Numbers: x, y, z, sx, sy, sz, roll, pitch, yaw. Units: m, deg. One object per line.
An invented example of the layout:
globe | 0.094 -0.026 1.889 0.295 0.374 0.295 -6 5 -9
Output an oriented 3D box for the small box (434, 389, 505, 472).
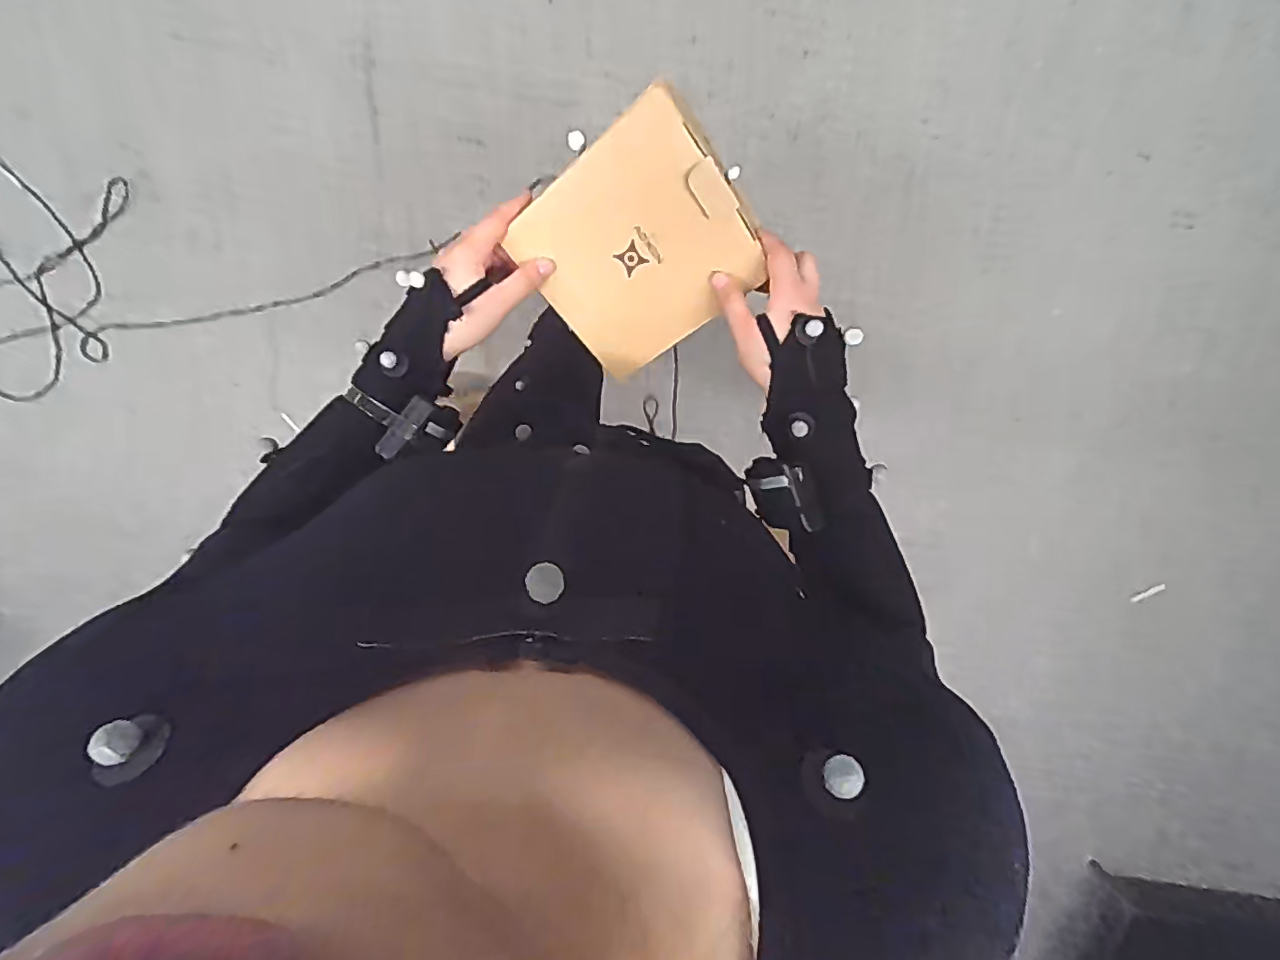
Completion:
small box | -0.444 -0.131 1.366 0.168 0.176 0.179 6 106 0

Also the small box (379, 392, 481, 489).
small box | -0.462 -0.093 1.206 0.168 0.176 0.179 7 105 -2
